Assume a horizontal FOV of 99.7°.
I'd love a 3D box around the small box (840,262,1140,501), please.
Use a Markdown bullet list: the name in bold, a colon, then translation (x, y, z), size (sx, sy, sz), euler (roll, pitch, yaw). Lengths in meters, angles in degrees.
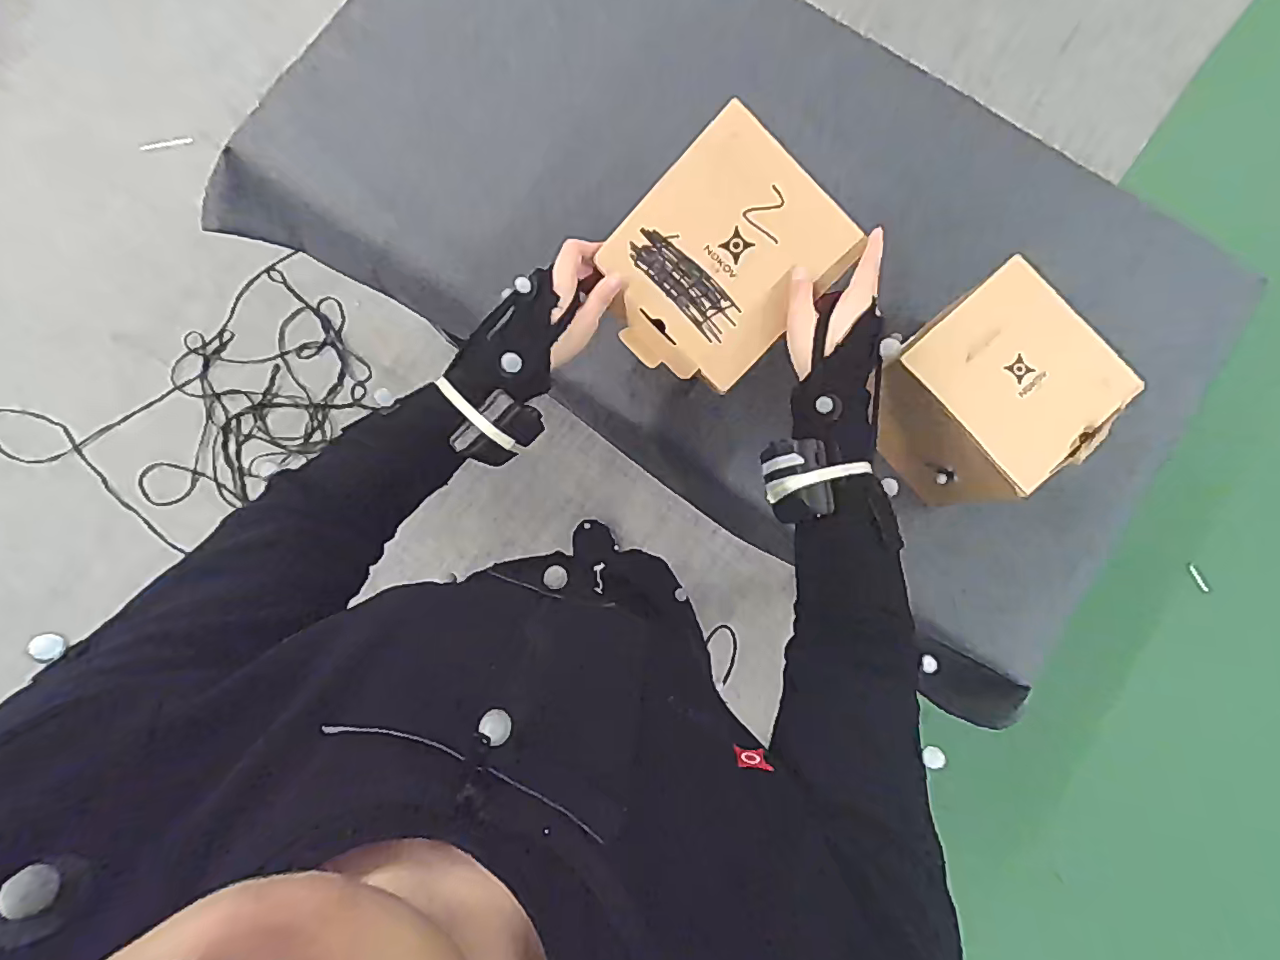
- **small box**: translation (0.361, -0.090, 0.595), size (0.168, 0.176, 0.179), euler (-41, 85, -6)
